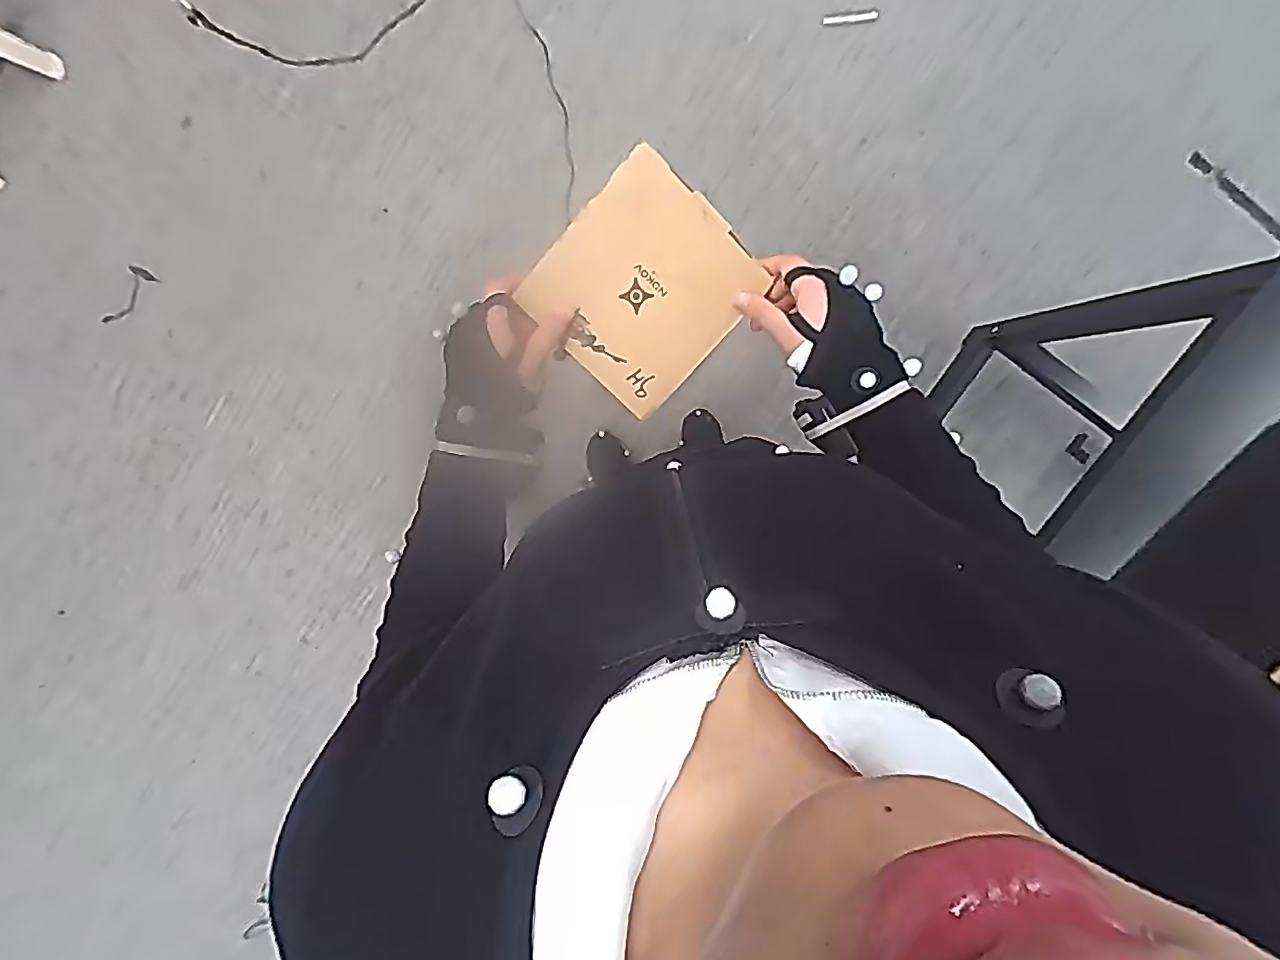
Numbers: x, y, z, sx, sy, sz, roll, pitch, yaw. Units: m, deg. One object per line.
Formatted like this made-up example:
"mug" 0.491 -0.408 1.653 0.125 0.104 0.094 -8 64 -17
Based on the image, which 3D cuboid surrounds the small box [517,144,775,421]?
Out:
"small box" 0.002 -0.189 0.555 0.168 0.176 0.179 41 100 -12
